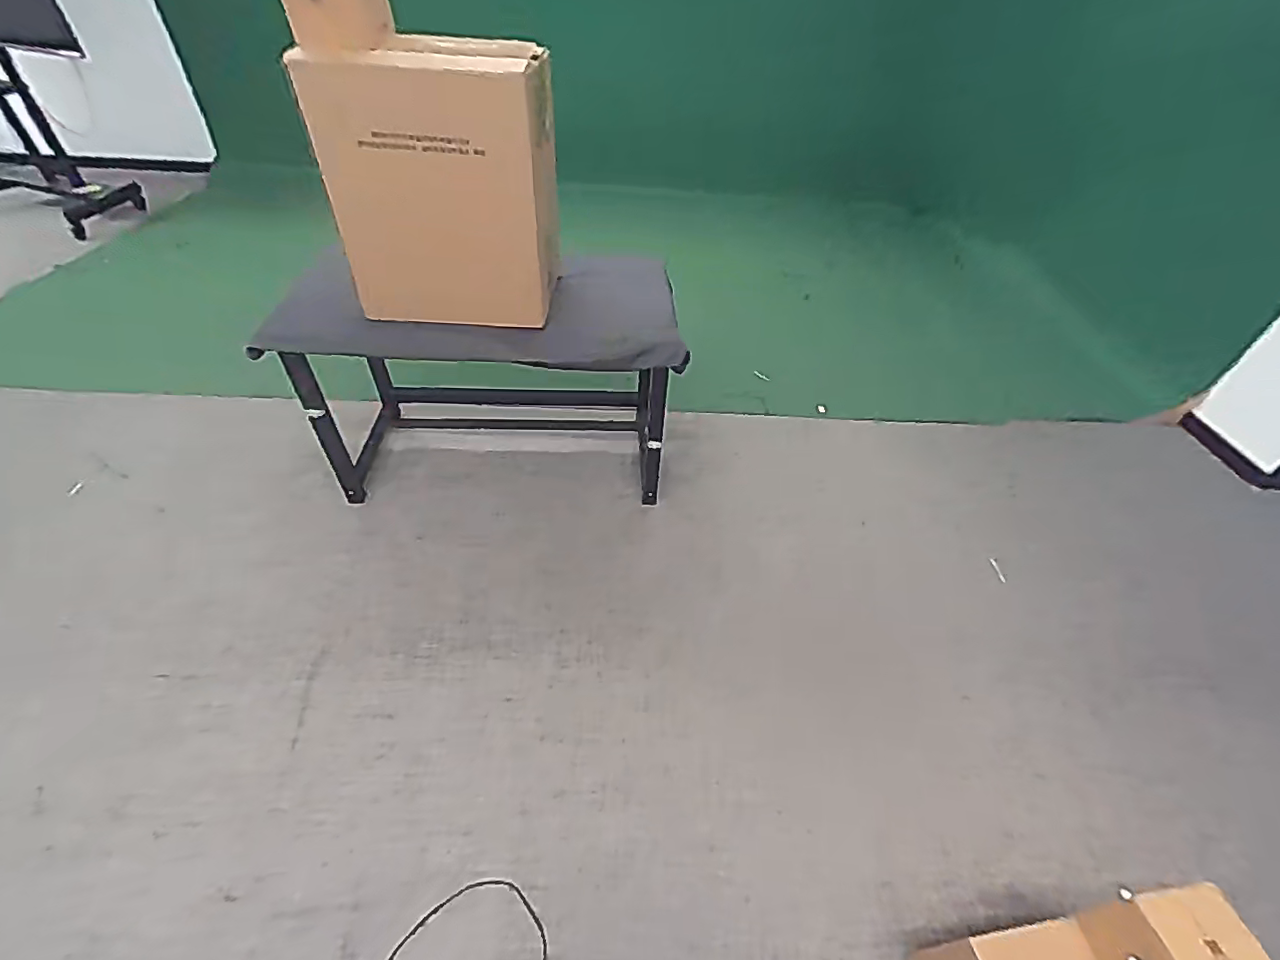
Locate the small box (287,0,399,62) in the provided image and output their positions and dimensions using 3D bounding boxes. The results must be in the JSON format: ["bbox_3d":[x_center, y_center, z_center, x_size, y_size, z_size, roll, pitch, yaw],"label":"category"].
[{"bbox_3d":[-0.678,-1.072,1.225,0.179,0.176,0.168,3,52,-1],"label":"small box"}]

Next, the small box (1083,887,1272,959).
[{"bbox_3d":[0.922,0.824,0.914,0.168,0.176,0.179,-2,41,-7],"label":"small box"}]
